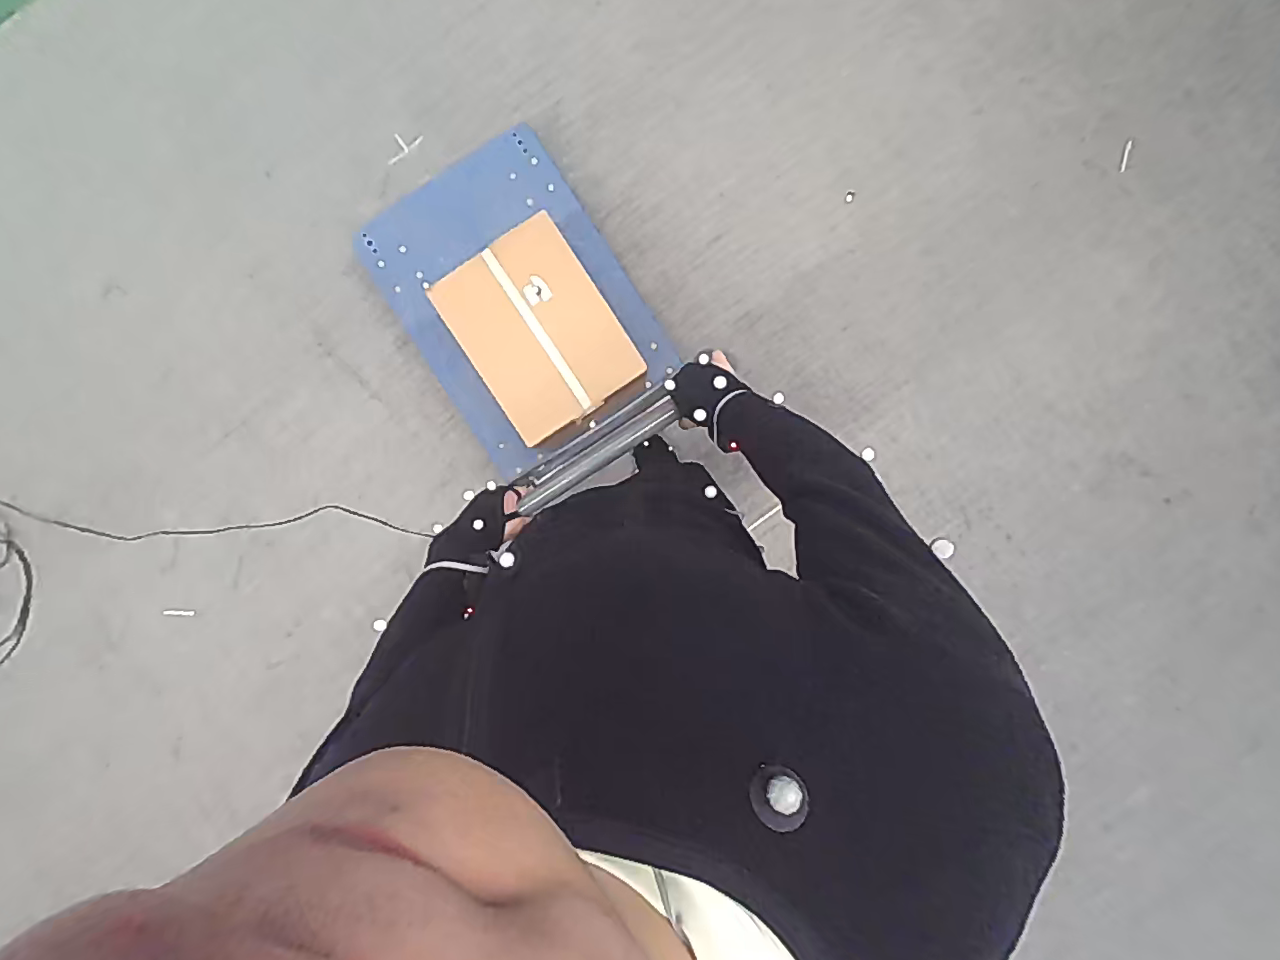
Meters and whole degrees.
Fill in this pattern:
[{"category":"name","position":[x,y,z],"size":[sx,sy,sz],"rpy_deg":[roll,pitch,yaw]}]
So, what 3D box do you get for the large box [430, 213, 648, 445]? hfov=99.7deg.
[{"category":"large box","position":[-0.215,-0.334,1.313],"size":[0.320,0.320,0.408],"rpy_deg":[-33,91,1]}]
